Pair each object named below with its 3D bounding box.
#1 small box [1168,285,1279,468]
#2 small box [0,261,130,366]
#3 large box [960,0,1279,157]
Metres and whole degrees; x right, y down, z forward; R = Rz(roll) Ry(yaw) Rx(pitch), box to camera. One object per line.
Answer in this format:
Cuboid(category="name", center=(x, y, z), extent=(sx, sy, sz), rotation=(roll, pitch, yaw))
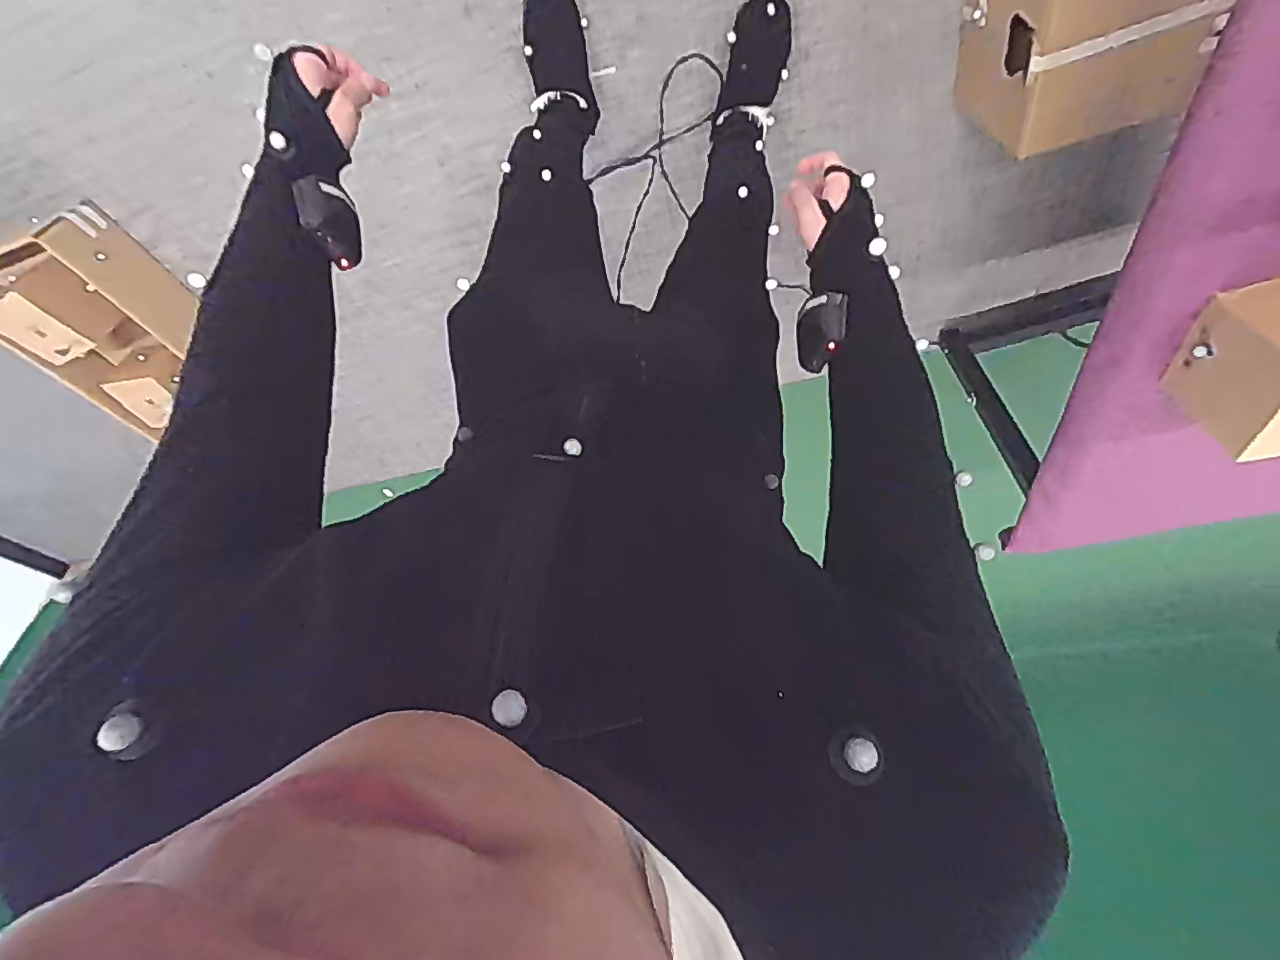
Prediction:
Cuboid(category="small box", center=(0.858, -0.144, 0.693), extent=(0.179, 0.176, 0.168), rotation=(-12, 140, 12))
Cuboid(category="small box", center=(-1.478, -0.427, 1.373), extent=(0.168, 0.176, 0.179), rotation=(-15, 141, 16))
Cuboid(category="large box", center=(0.814, -0.822, 0.896), extent=(0.408, 0.320, 0.320), rotation=(-13, 141, 13))
